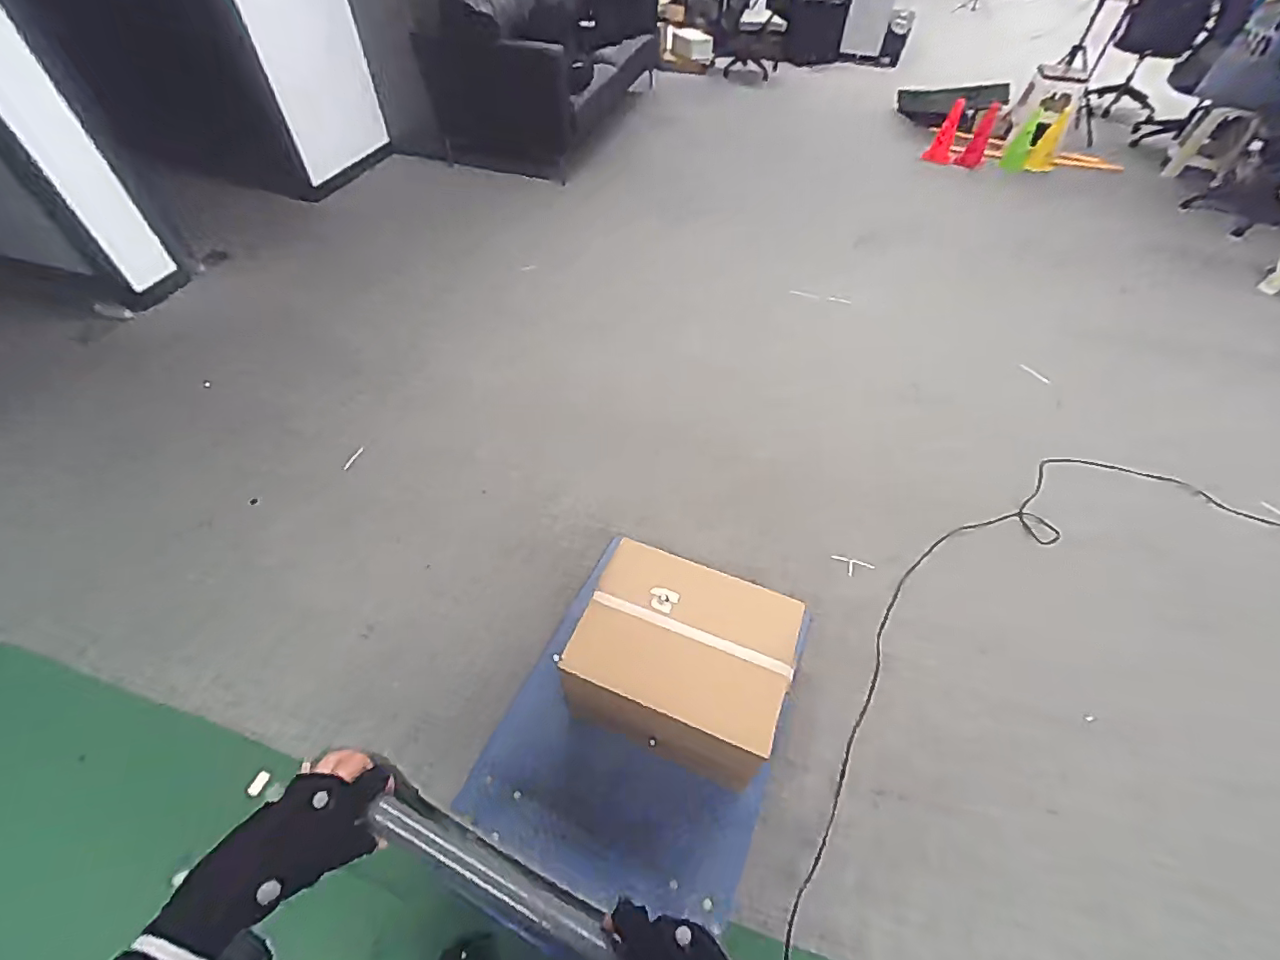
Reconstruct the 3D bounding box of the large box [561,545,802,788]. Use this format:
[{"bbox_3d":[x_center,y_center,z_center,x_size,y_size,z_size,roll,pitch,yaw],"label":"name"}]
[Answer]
[{"bbox_3d":[0.092,0.398,1.160,0.408,0.320,0.320,17,51,14],"label":"large box"}]
